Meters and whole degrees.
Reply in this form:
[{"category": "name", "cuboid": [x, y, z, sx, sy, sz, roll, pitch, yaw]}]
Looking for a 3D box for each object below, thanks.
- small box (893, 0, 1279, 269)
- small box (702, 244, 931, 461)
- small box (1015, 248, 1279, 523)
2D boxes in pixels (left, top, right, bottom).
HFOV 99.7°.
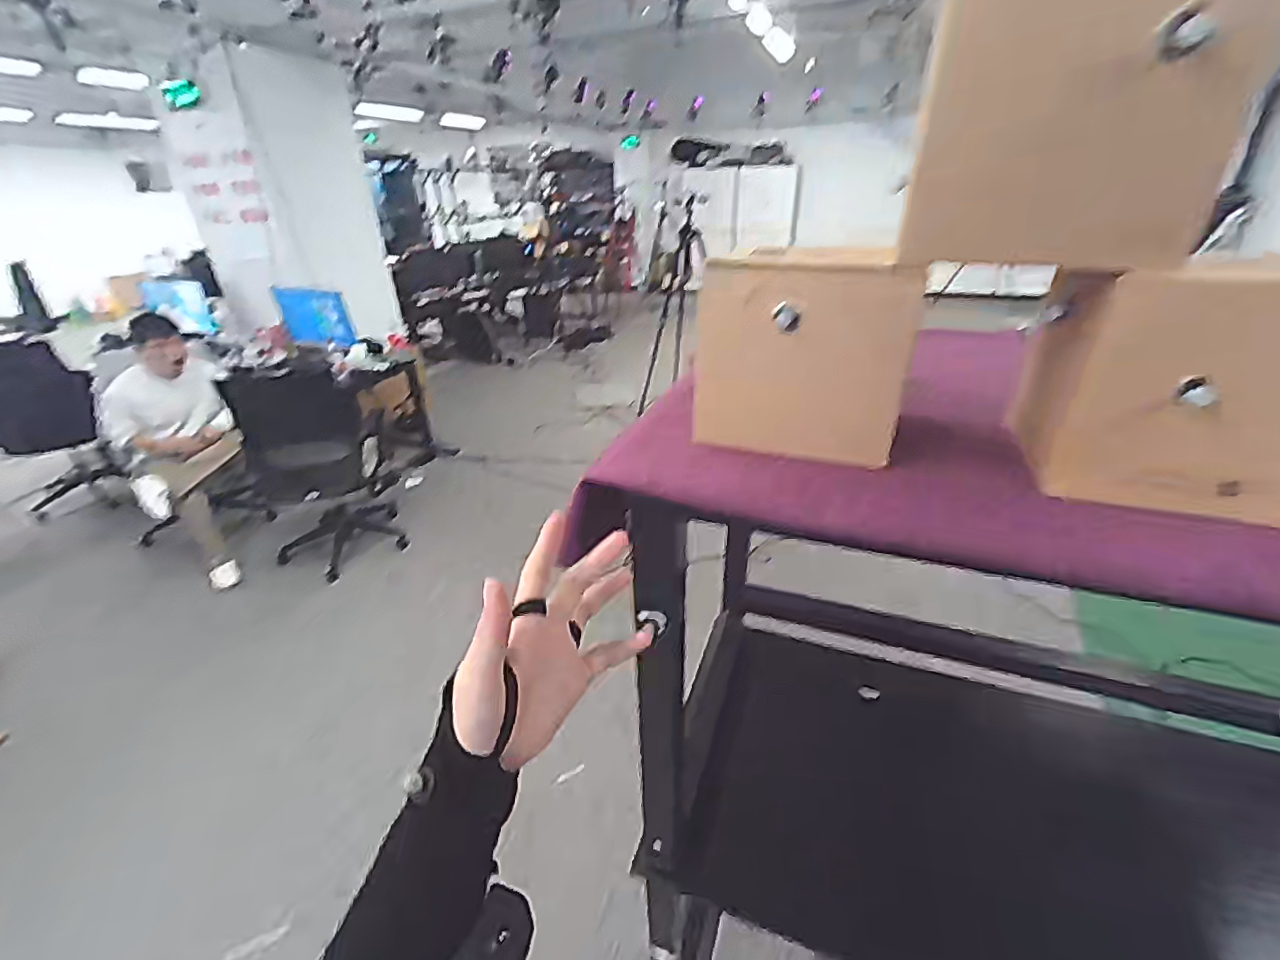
[{"category": "small box", "cuboid": [0.303, -0.254, 0.401, 0.179, 0.176, 0.168, 11, 30, 21]}, {"category": "small box", "cuboid": [0.164, -0.131, 0.524, 0.179, 0.176, 0.168, 10, 30, 19]}, {"category": "small box", "cuboid": [0.424, -0.083, 0.426, 0.168, 0.176, 0.179, 9, 29, 21]}]
